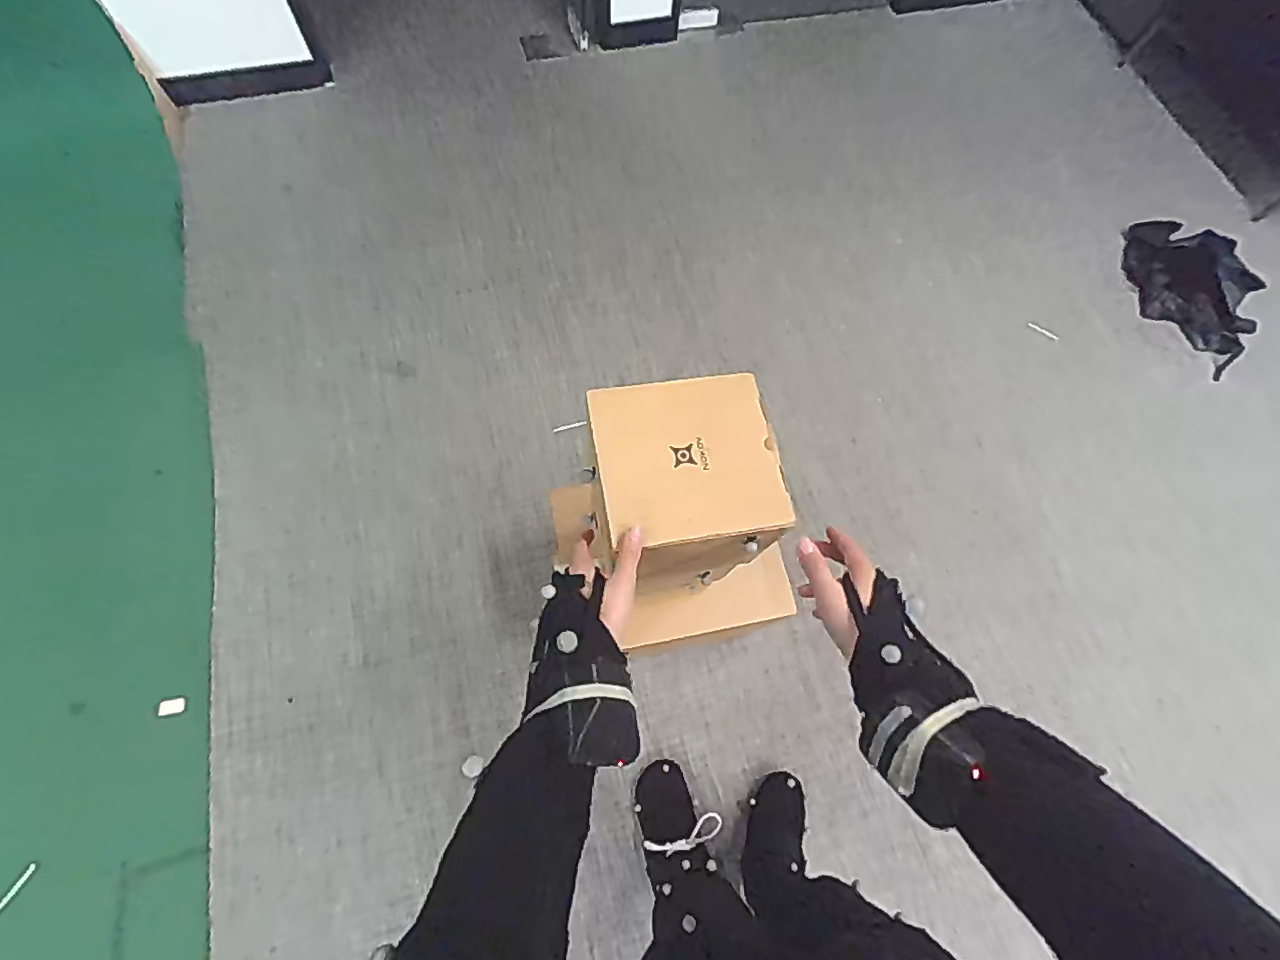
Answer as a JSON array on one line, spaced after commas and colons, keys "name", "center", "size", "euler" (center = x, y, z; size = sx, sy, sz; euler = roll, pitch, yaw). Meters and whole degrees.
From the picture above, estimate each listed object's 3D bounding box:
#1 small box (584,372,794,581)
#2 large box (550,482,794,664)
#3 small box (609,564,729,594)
[{"name": "small box", "center": [0.038, 0.005, 0.586], "size": [0.179, 0.176, 0.168], "euler": [-8, 70, -9]}, {"name": "large box", "center": [0.042, 0.178, 1.130], "size": [0.408, 0.320, 0.320], "euler": [-9, 71, -9]}, {"name": "small box", "center": [0.030, 0.051, 0.742], "size": [0.168, 0.176, 0.179], "euler": [-10, 69, -9]}]
